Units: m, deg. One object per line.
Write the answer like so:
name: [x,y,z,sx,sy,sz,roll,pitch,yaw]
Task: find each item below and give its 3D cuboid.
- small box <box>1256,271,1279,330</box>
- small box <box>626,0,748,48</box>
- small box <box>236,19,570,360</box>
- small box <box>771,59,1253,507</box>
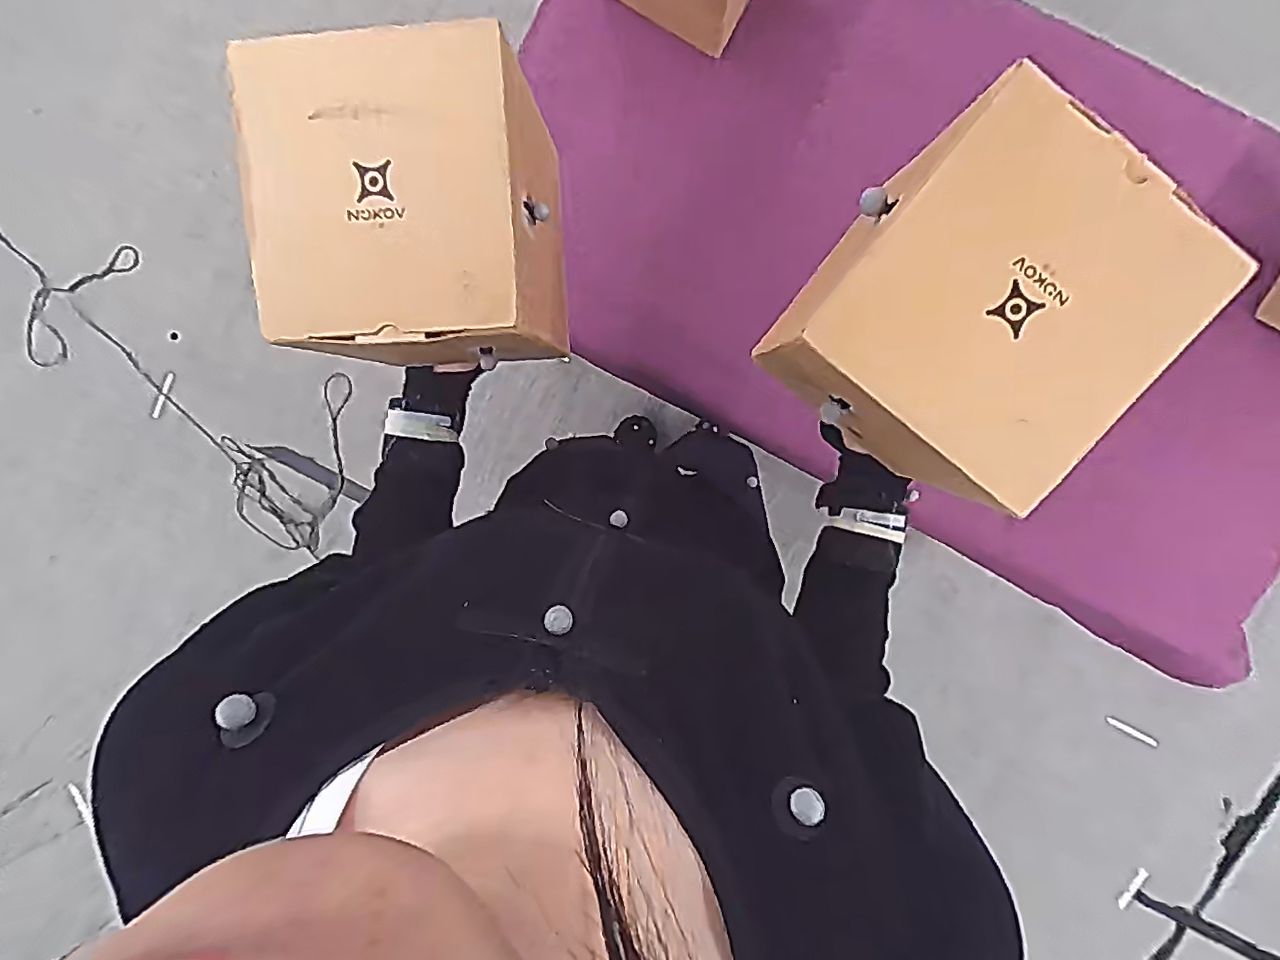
small box: [0.892,-0.236,0.610,0.179,0.176,0.168,27,98,-2]
small box: [0.059,-0.634,0.590,0.179,0.176,0.168,29,99,-3]
small box: [-0.149,-0.185,0.403,0.168,0.176,0.179,-2,96,3]
small box: [0.209,-0.109,0.369,0.168,0.176,0.179,38,97,-3]
